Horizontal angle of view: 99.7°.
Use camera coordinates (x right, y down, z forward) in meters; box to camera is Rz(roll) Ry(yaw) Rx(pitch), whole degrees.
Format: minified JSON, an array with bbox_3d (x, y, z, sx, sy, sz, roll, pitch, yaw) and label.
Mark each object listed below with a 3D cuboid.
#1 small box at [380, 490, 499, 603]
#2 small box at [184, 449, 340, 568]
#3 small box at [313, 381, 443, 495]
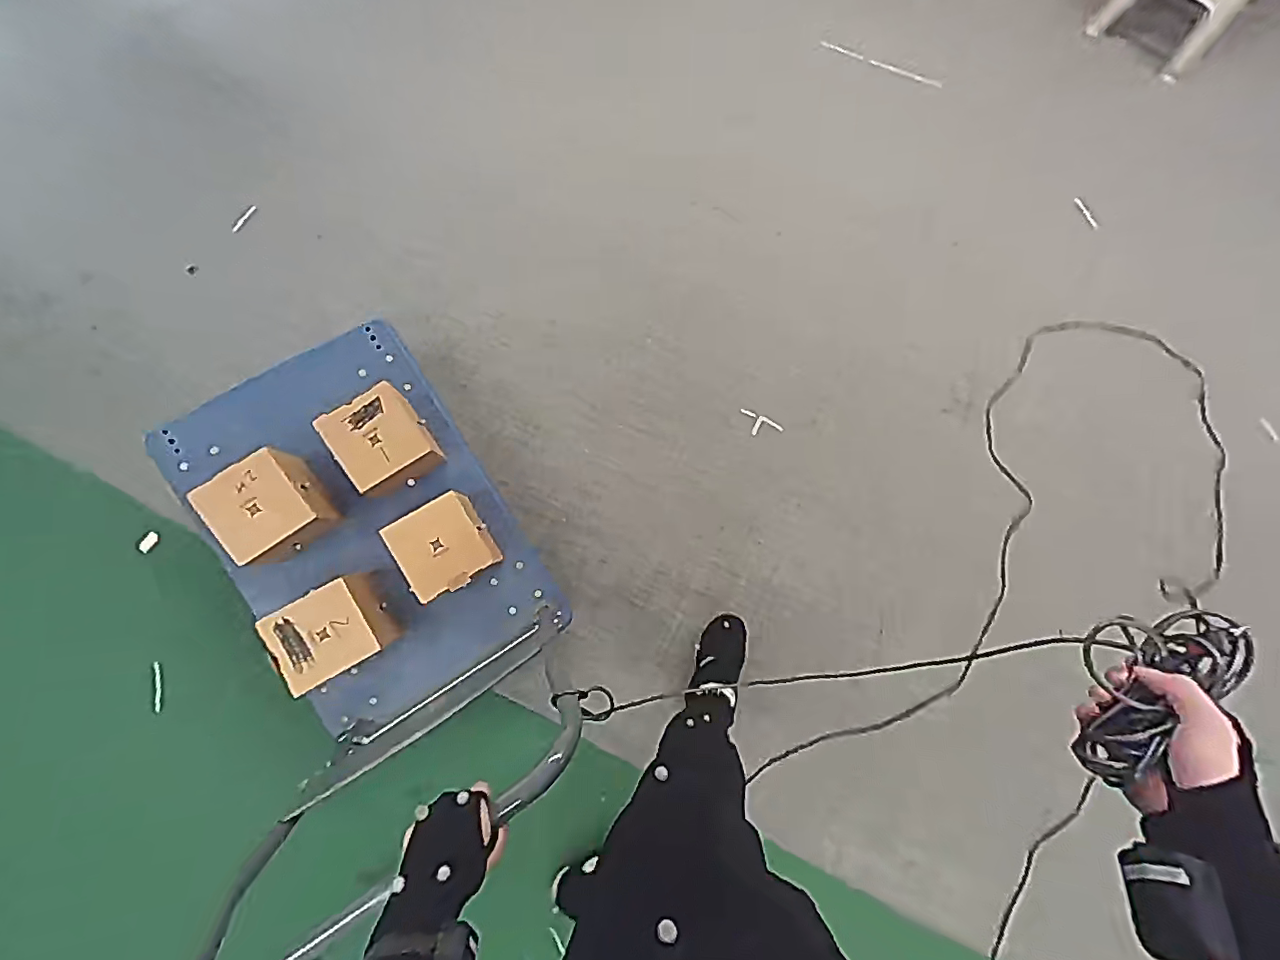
[{"bbox_3d":[-0.423,0.142,1.167,0.168,0.176,0.179,-31,91,-11],"label":"small box"},{"bbox_3d":[-0.762,0.060,1.116,0.168,0.176,0.179,-36,91,-12],"label":"small box"},{"bbox_3d":[-0.553,-0.080,1.166,0.168,0.176,0.179,-34,91,-10],"label":"small box"}]
